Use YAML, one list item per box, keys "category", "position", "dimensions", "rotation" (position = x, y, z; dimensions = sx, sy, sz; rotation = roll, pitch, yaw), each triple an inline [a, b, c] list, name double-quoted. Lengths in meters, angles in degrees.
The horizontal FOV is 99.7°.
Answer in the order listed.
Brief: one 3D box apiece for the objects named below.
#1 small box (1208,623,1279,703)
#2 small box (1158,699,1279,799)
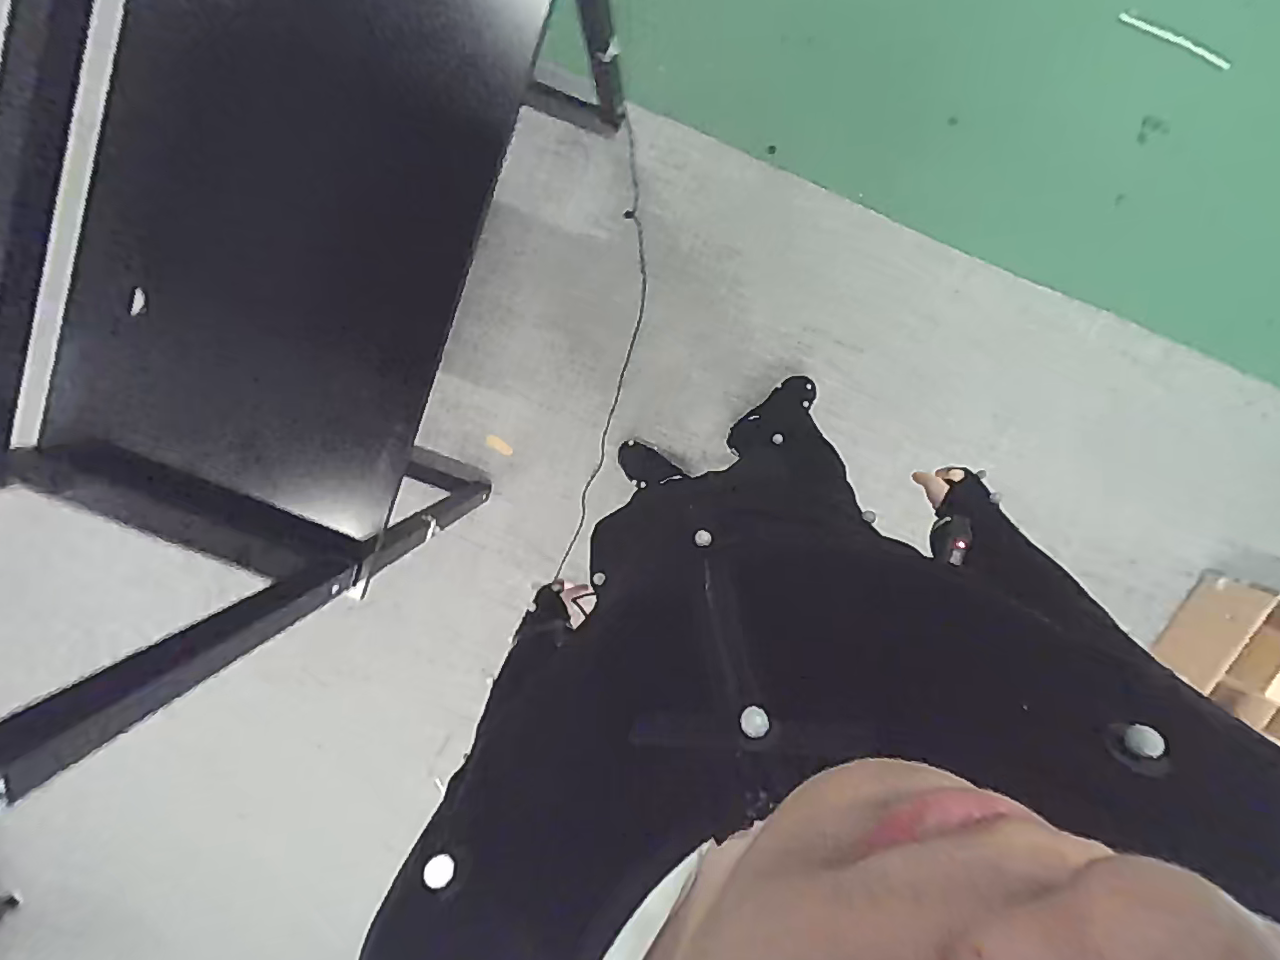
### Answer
- category: "small box"
  position: [1.774, 0.524, 1.507]
  dimensions: [0.179, 0.176, 0.168]
  rotation: [23, 100, -2]
- category: "small box"
  position: [1.666, 0.759, 1.551]
  dimensions: [0.179, 0.176, 0.168]
  rotation: [23, 99, -2]
